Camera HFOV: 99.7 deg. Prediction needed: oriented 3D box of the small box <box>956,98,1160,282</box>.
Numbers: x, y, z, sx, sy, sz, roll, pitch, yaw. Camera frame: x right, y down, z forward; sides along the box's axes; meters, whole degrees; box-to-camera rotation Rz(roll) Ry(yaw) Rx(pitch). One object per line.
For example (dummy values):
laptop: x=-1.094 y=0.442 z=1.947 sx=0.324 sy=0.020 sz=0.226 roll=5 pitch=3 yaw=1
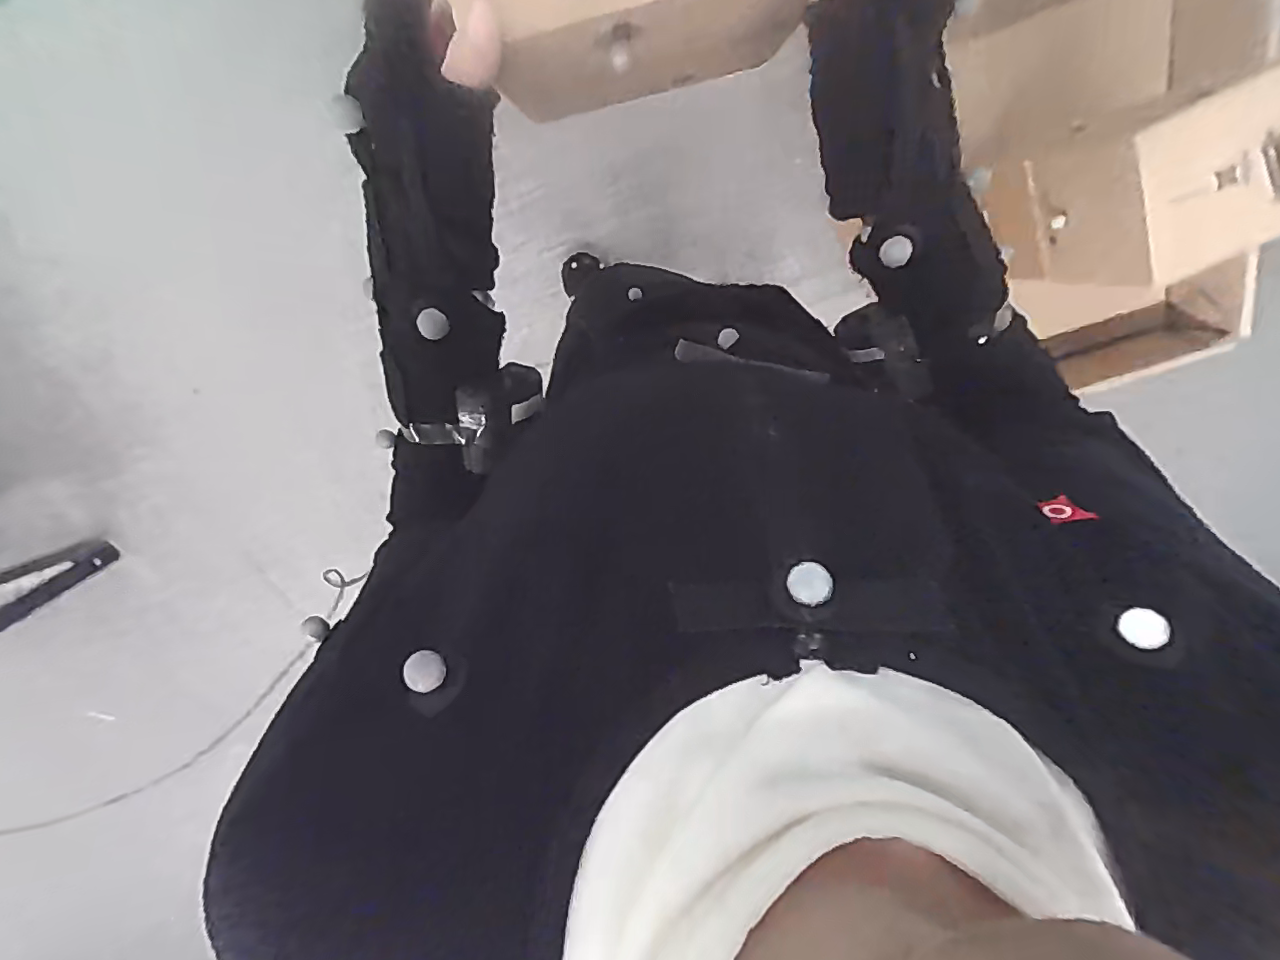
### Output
small box: x=0.601 y=-0.407 z=0.783 sx=0.179 sy=0.176 sz=0.168 roll=-23 pitch=110 yaw=10

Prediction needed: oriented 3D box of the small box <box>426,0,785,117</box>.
small box: x=-0.022 y=-0.306 z=0.256 sx=0.168 sy=0.176 sz=0.179 roll=-11 pitch=114 yaw=5

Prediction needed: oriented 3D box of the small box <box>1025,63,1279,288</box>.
small box: x=0.602 y=-0.343 z=0.632 sx=0.179 sy=0.176 sz=0.168 roll=-23 pitch=109 yaw=10
